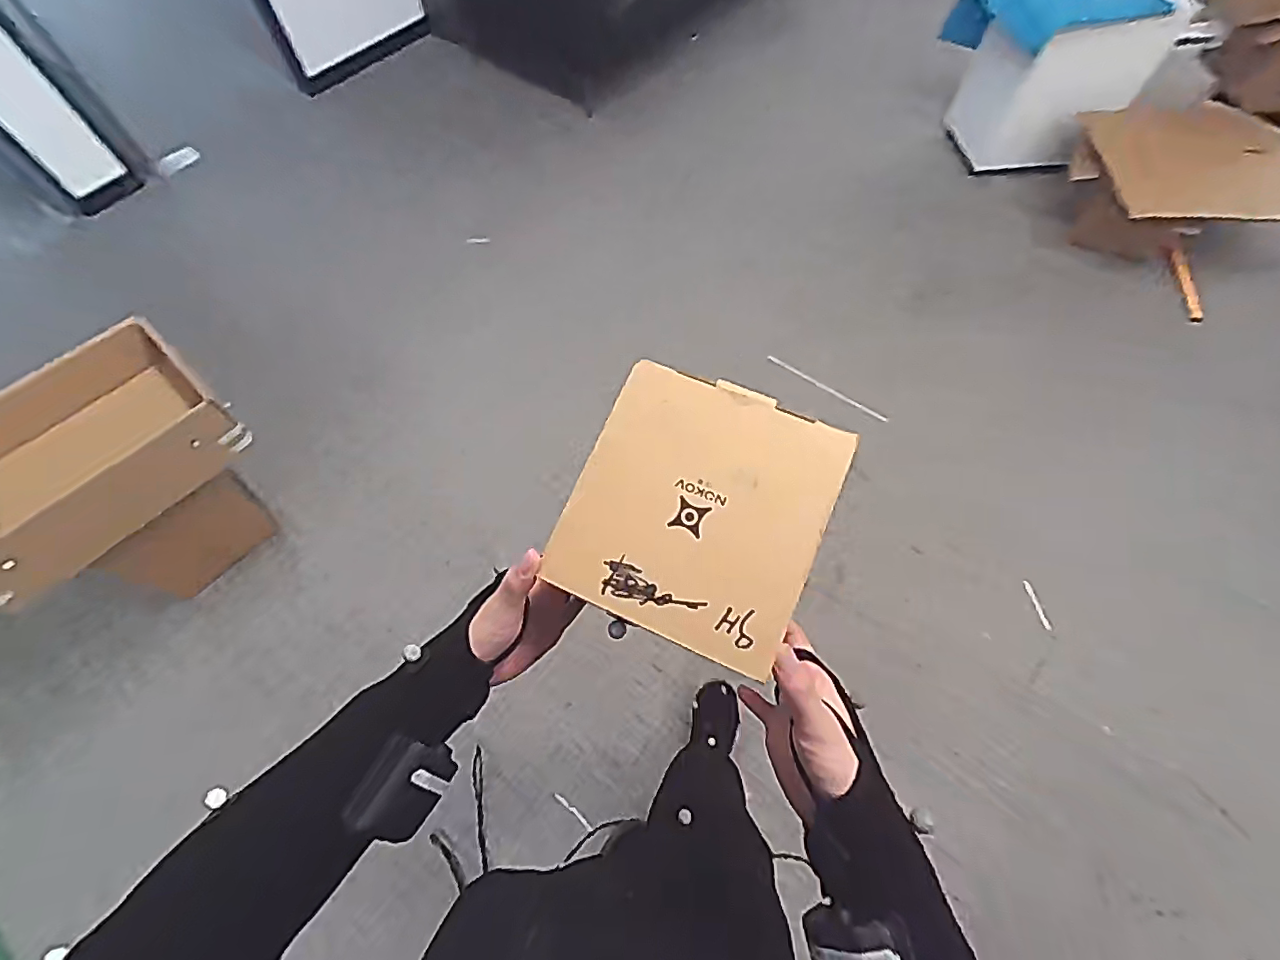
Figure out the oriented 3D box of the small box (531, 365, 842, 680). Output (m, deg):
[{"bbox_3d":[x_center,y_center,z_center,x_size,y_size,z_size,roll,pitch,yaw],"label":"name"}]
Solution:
[{"bbox_3d":[0.041,0.041,0.442,0.168,0.176,0.179,21,77,13],"label":"small box"}]
